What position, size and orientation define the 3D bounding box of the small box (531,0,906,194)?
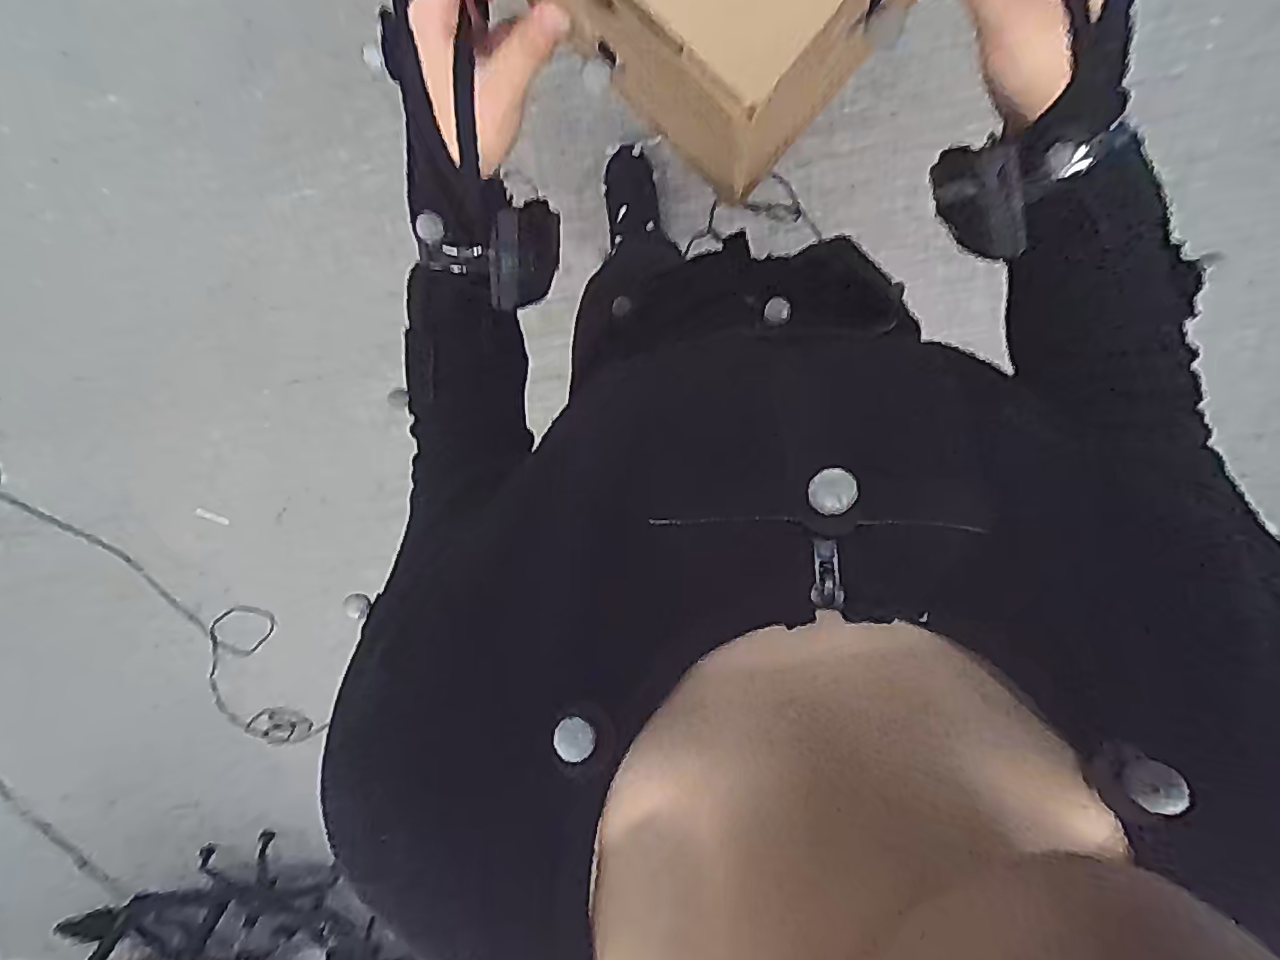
[{"bbox_3d":[0.038,-0.251,0.217,0.168,0.176,0.179,42,110,-5],"label":"small box"}]
